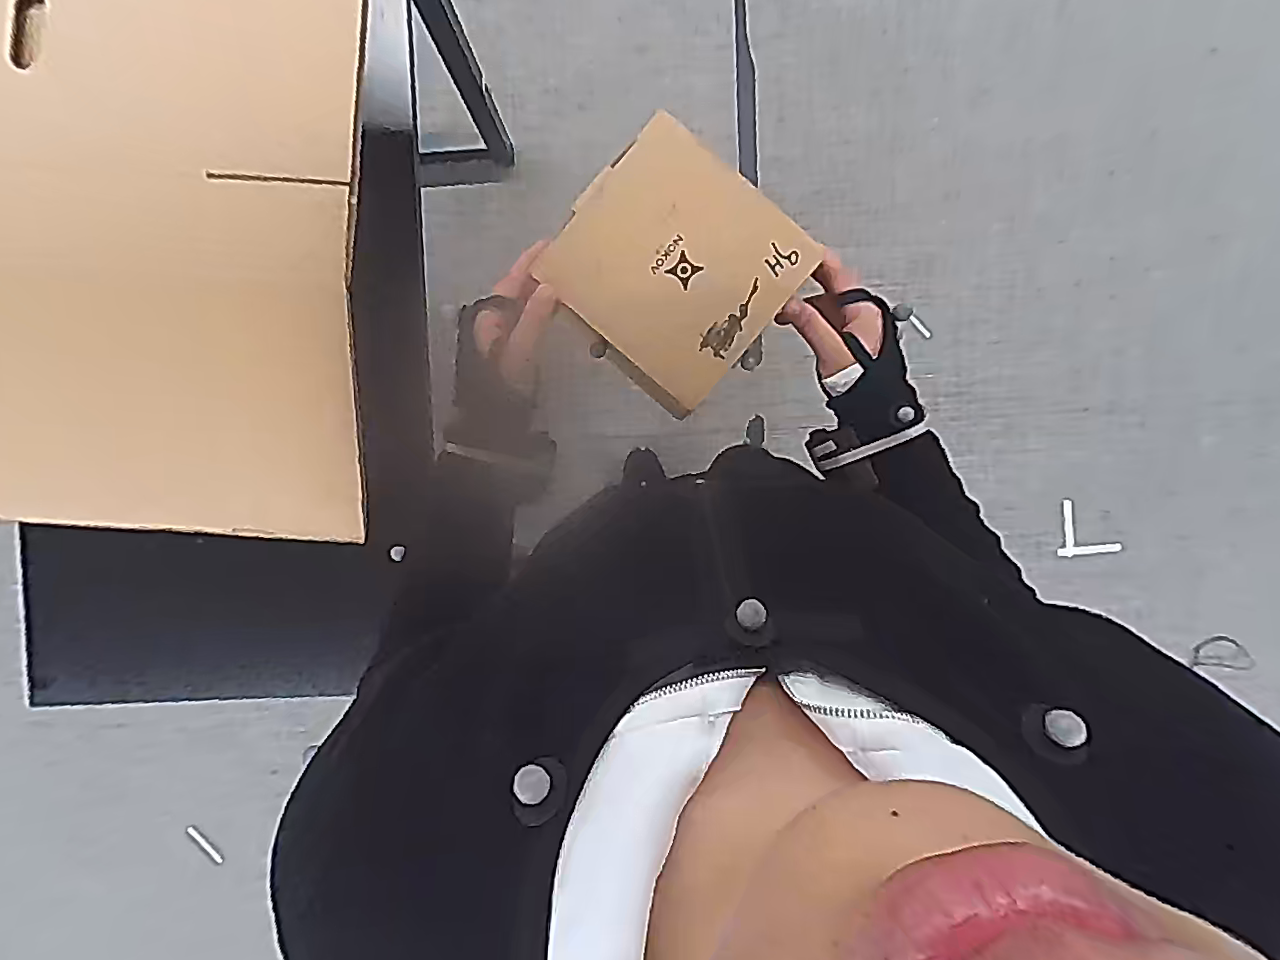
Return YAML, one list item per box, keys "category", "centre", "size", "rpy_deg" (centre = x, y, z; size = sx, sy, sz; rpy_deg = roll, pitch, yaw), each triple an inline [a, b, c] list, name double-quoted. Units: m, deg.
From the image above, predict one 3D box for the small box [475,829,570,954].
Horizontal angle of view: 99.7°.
- category: "small box"
  centre: [-0.270, 0.967, 1.288]
  size: [0.179, 0.176, 0.168]
  rpy_deg: [-10, 91, 2]

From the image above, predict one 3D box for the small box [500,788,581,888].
- category: "small box"
  centre: [-0.262, 0.960, 1.450]
  size: [0.179, 0.176, 0.168]
  rpy_deg: [-6, 92, 0]
